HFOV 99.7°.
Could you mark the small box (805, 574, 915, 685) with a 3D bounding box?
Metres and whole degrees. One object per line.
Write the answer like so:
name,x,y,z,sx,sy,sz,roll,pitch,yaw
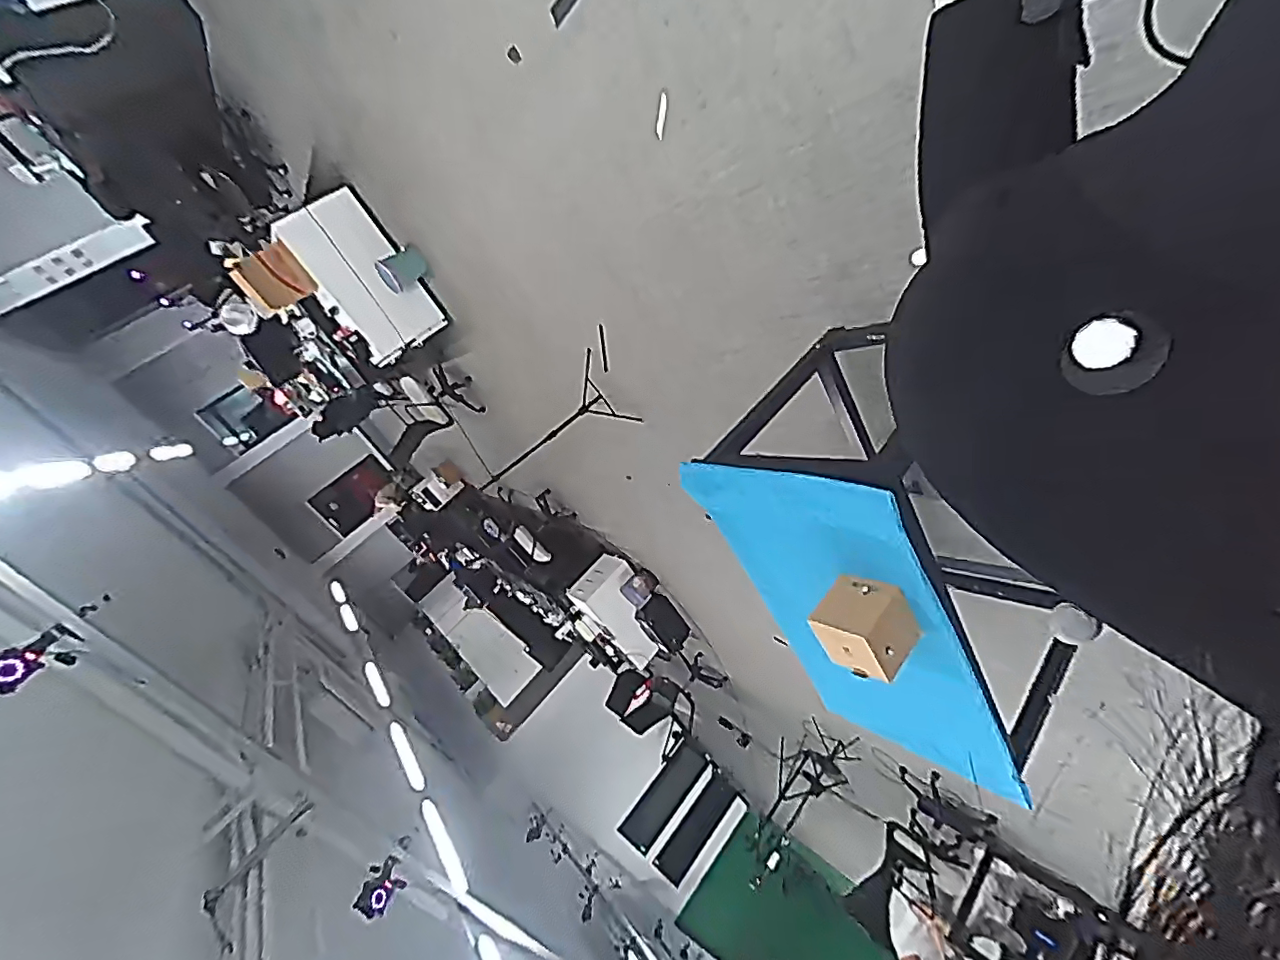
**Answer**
small box,0.553,0.366,1.349,0.168,0.176,0.179,6,135,56
